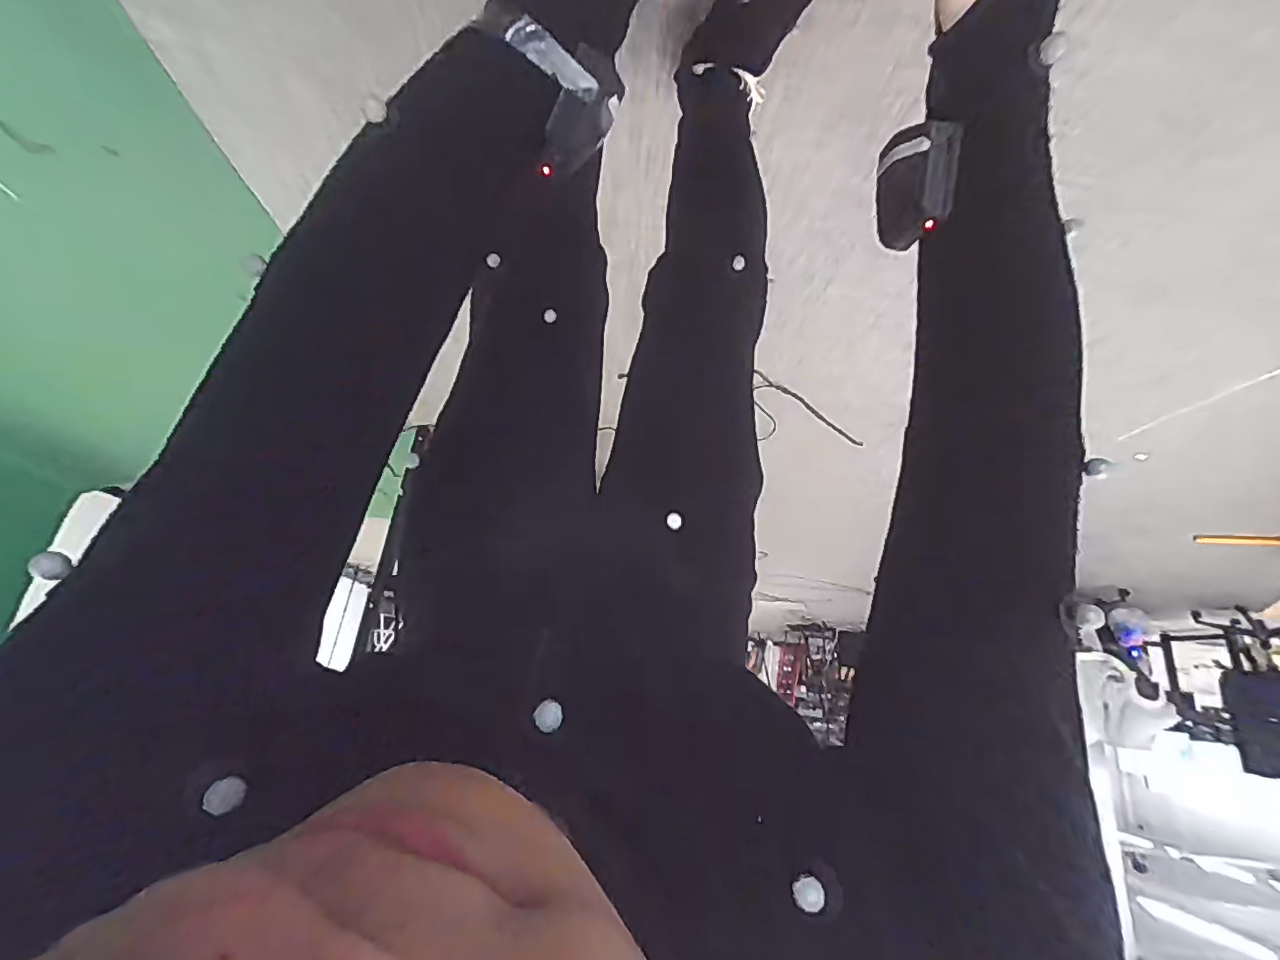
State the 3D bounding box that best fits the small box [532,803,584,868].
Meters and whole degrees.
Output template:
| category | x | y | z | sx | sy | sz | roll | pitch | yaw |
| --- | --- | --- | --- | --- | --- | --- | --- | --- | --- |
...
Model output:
| category | x | y | z | sx | sy | sz | roll | pitch | yaw |
| --- | --- | --- | --- | --- | --- | --- | --- | --- | --- |
| small box | -0.311 | 1.361 | 2.085 | 0.168 | 0.176 | 0.179 | 8 | 162 | -2 |
